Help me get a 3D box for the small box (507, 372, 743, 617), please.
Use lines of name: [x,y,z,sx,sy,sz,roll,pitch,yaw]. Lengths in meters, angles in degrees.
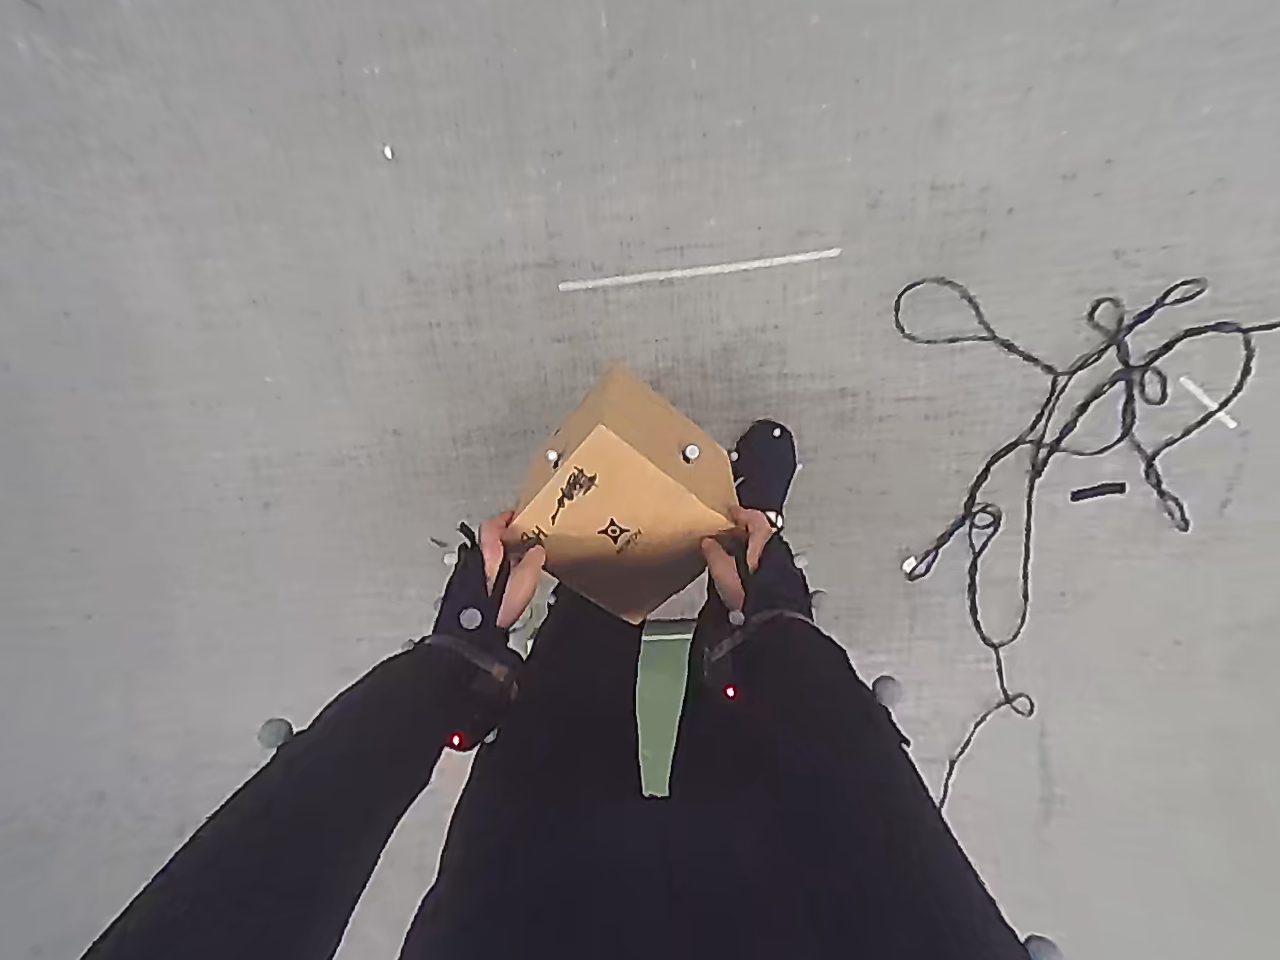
small box: [-0.013,0.008,0.596,0.179,0.176,0.168,37,114,-17]
